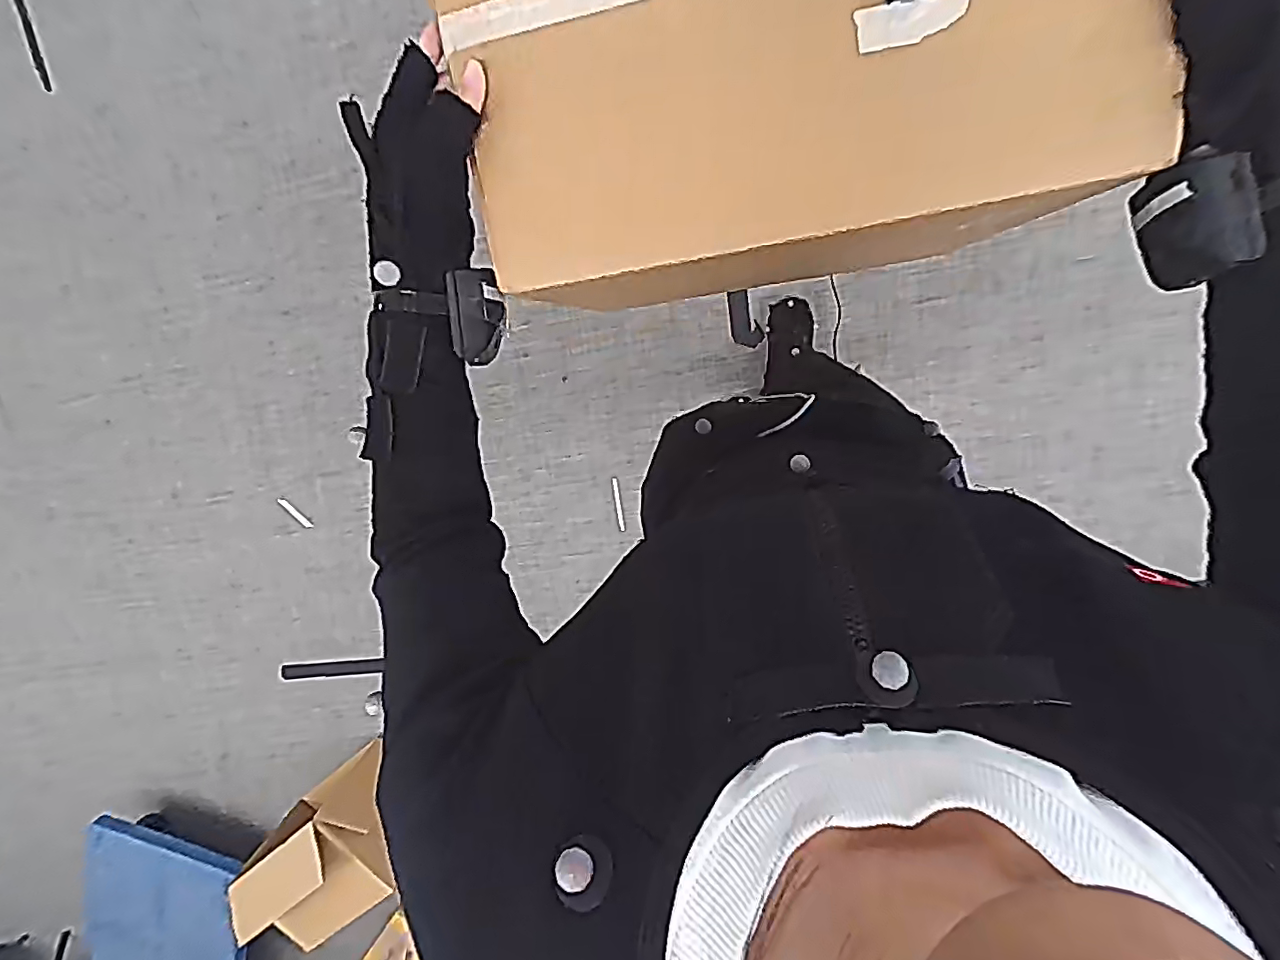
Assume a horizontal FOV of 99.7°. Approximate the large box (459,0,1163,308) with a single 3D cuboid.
[{"bbox_3d":[0.099,-0.348,0.457,0.408,0.320,0.320,-7,104,10],"label":"large box"}]
